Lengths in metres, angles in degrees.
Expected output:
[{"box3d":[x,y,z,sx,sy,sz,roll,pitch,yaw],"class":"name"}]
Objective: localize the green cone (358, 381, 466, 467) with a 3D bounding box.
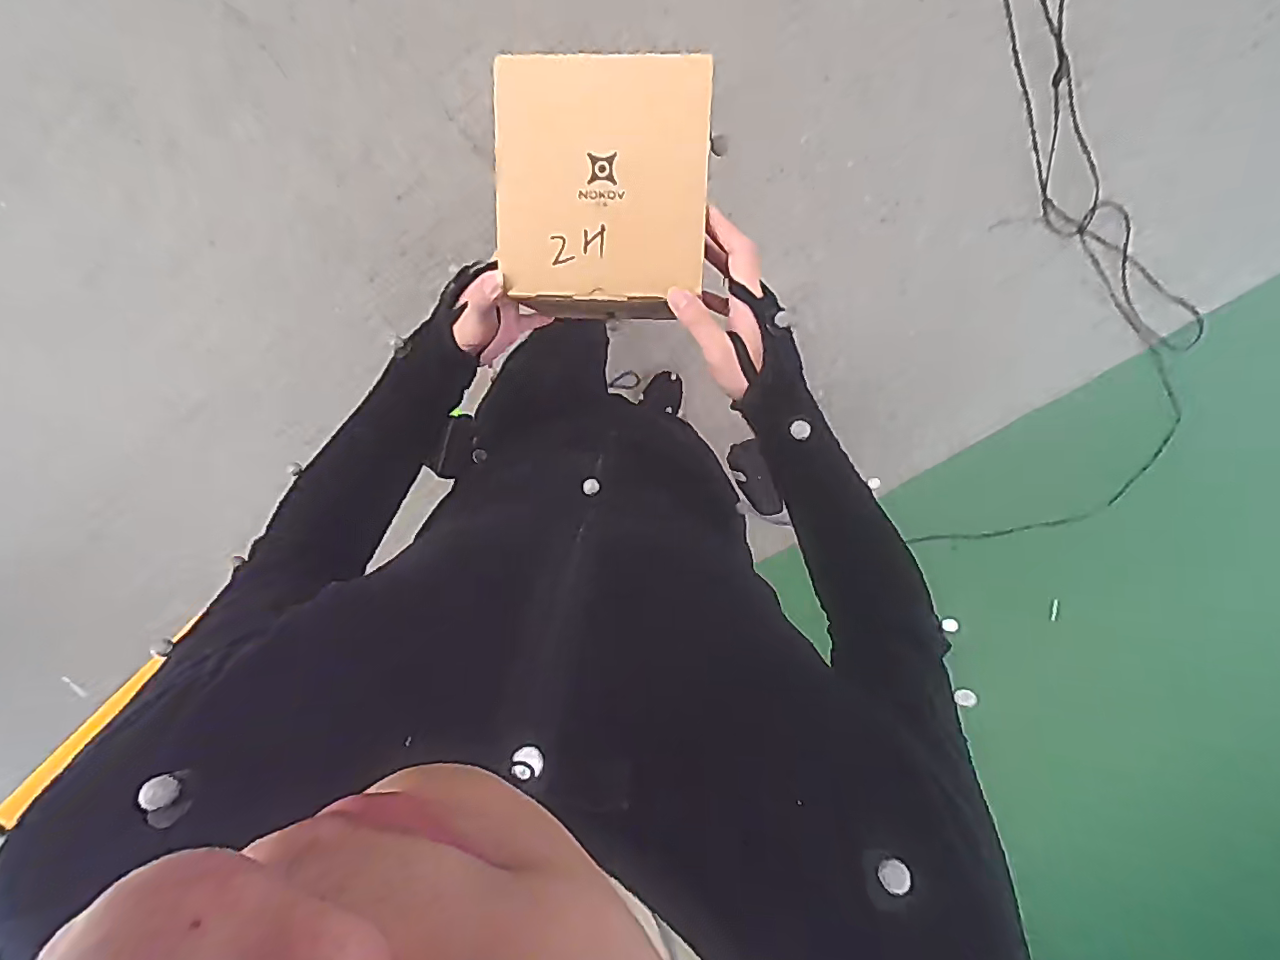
[{"box3d":[-0.628,-0.102,1.398,0.202,0.368,0.200,-31,107,9],"class":"green cone"}]
